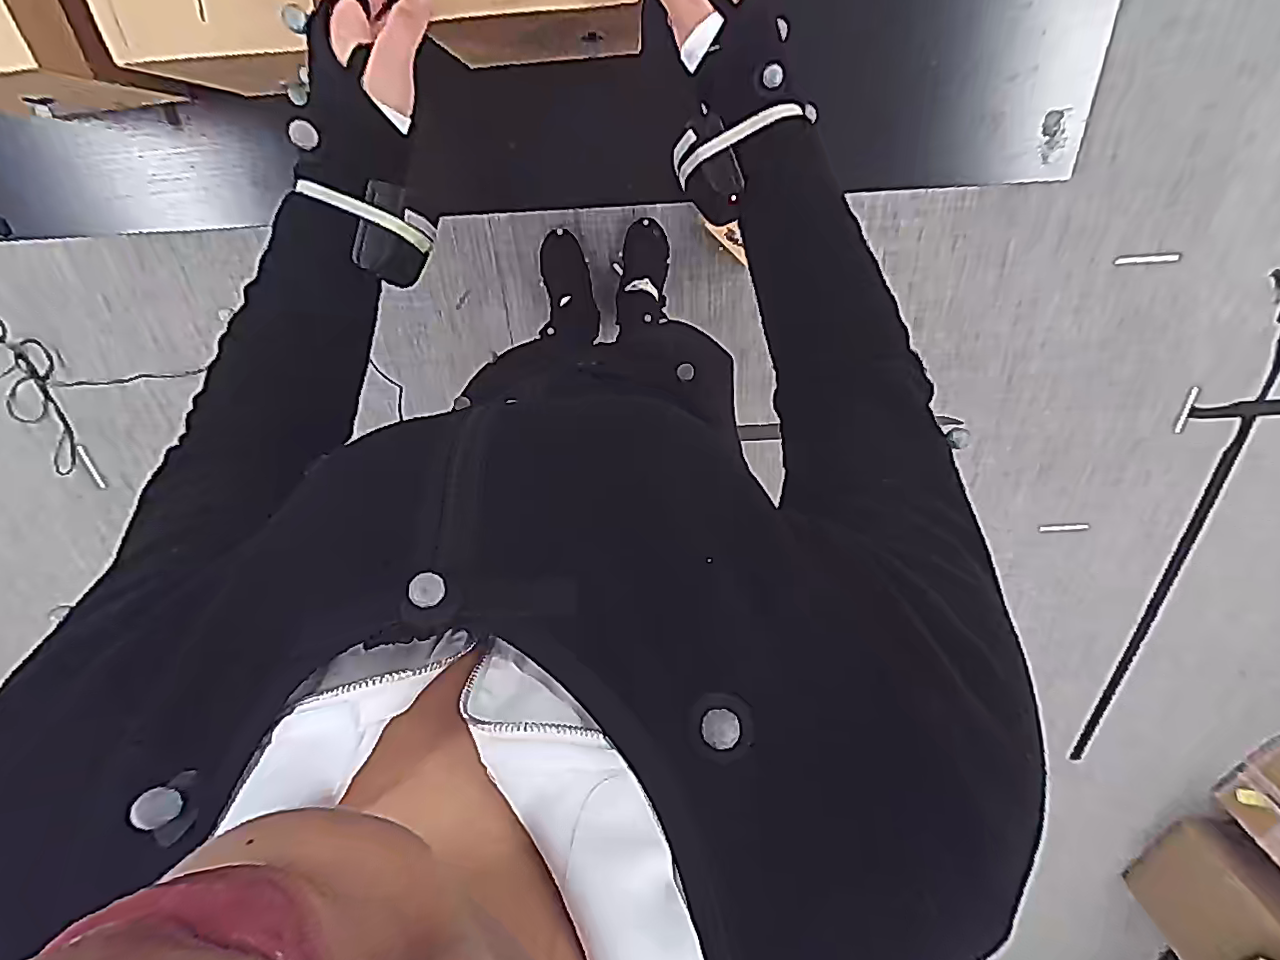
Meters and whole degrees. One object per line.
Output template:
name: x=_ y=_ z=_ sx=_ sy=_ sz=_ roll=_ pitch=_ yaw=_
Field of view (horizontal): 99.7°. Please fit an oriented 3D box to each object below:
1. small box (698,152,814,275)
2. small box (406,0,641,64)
small box: x=0.244 y=-0.588 z=1.197 sx=0.168 sy=0.176 sz=0.179 roll=36 pitch=112 yaw=-19
small box: x=-0.092 y=-0.456 z=0.433 sx=0.179 sy=0.176 sz=0.168 roll=-4 pitch=118 yaw=2
